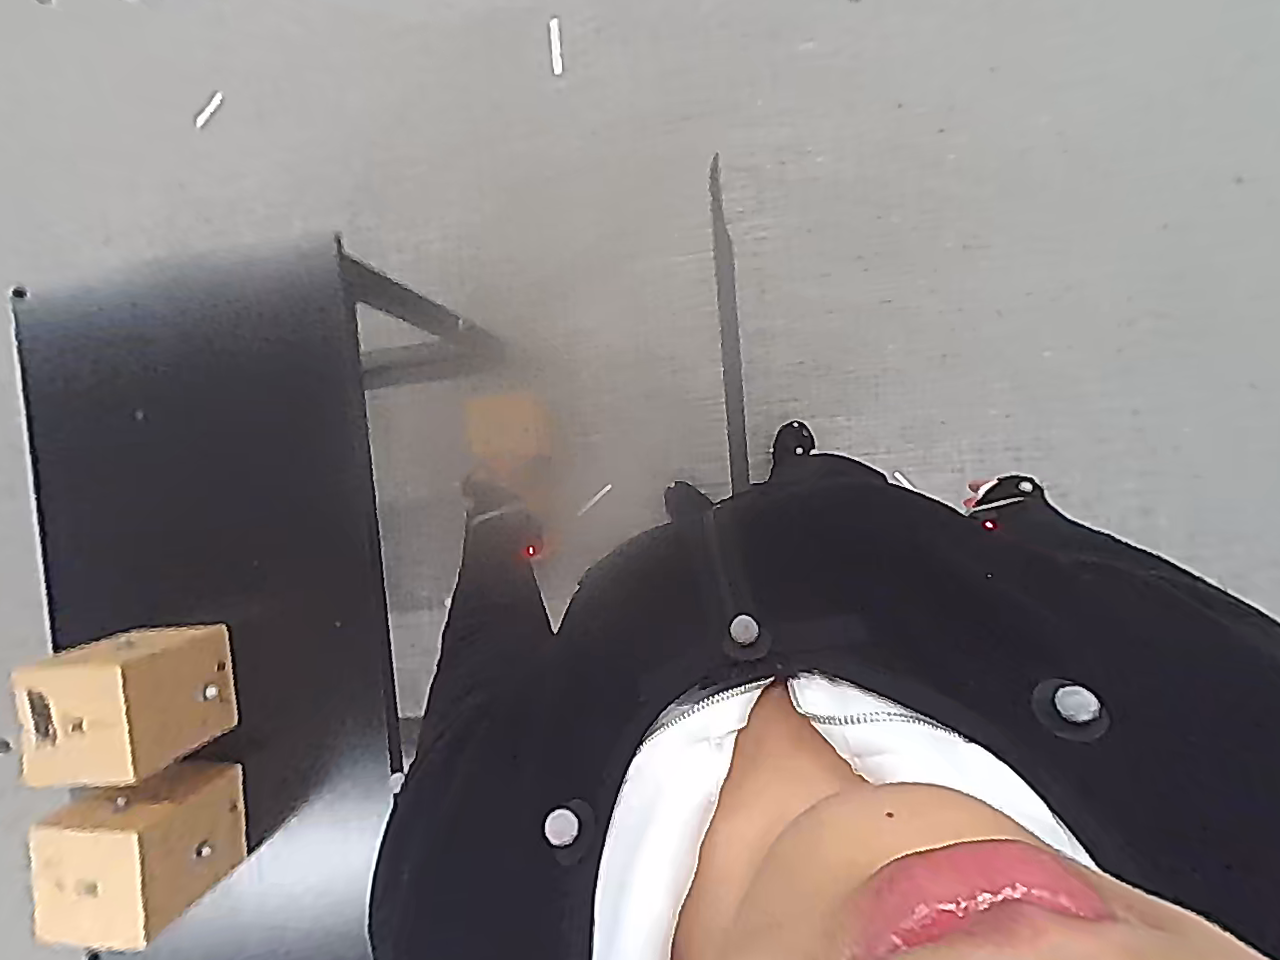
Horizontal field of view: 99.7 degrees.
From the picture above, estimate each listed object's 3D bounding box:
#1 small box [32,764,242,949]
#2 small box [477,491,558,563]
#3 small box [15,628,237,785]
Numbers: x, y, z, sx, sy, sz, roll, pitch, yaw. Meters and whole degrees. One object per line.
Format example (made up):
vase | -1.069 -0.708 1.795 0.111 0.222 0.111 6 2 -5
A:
small box | -0.744 0.555 0.820 0.179 0.176 0.168 -2 91 8
small box | -0.332 0.123 1.489 0.168 0.176 0.179 -6 92 8
small box | -0.759 0.331 0.814 0.179 0.176 0.168 -6 91 6
